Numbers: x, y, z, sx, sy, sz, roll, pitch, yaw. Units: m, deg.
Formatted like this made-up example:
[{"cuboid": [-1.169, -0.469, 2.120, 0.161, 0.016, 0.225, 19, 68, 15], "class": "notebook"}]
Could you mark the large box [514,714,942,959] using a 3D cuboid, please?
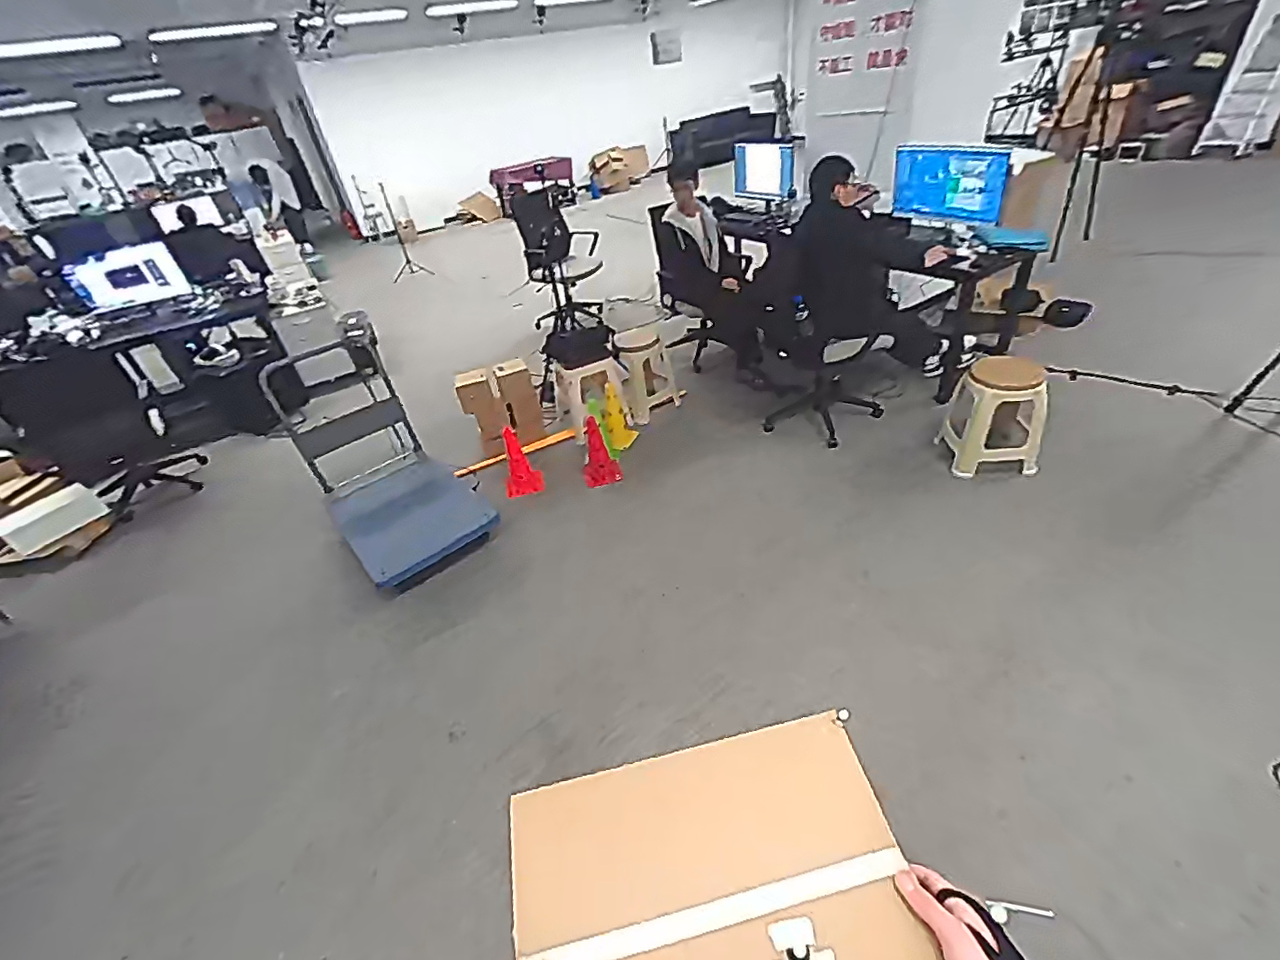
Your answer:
[{"cuboid": [0.089, 0.546, 0.659, 0.408, 0.320, 0.320, -13, 47, -5], "class": "large box"}]
